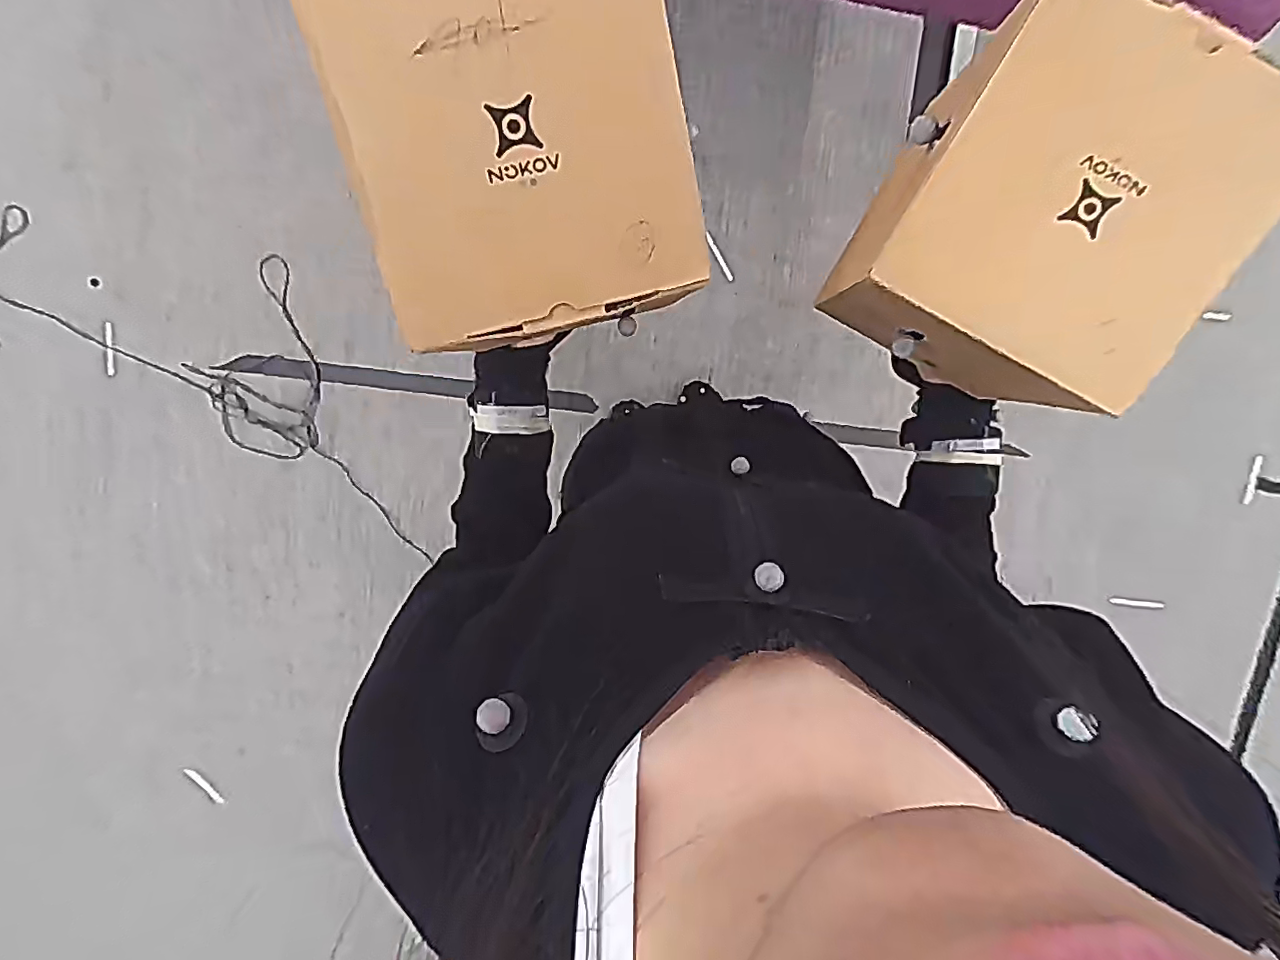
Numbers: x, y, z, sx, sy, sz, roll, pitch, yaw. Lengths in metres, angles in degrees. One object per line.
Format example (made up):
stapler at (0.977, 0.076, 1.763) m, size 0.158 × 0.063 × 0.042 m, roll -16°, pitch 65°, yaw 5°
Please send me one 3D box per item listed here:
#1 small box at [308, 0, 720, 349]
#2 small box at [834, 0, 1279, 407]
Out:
small box at (-0.060, -0.188, 0.337) m, size 0.168 × 0.176 × 0.179 m, roll -14°, pitch 104°, yaw -1°
small box at (0.253, -0.168, 0.363) m, size 0.168 × 0.176 × 0.179 m, roll 29°, pitch 103°, yaw 0°
